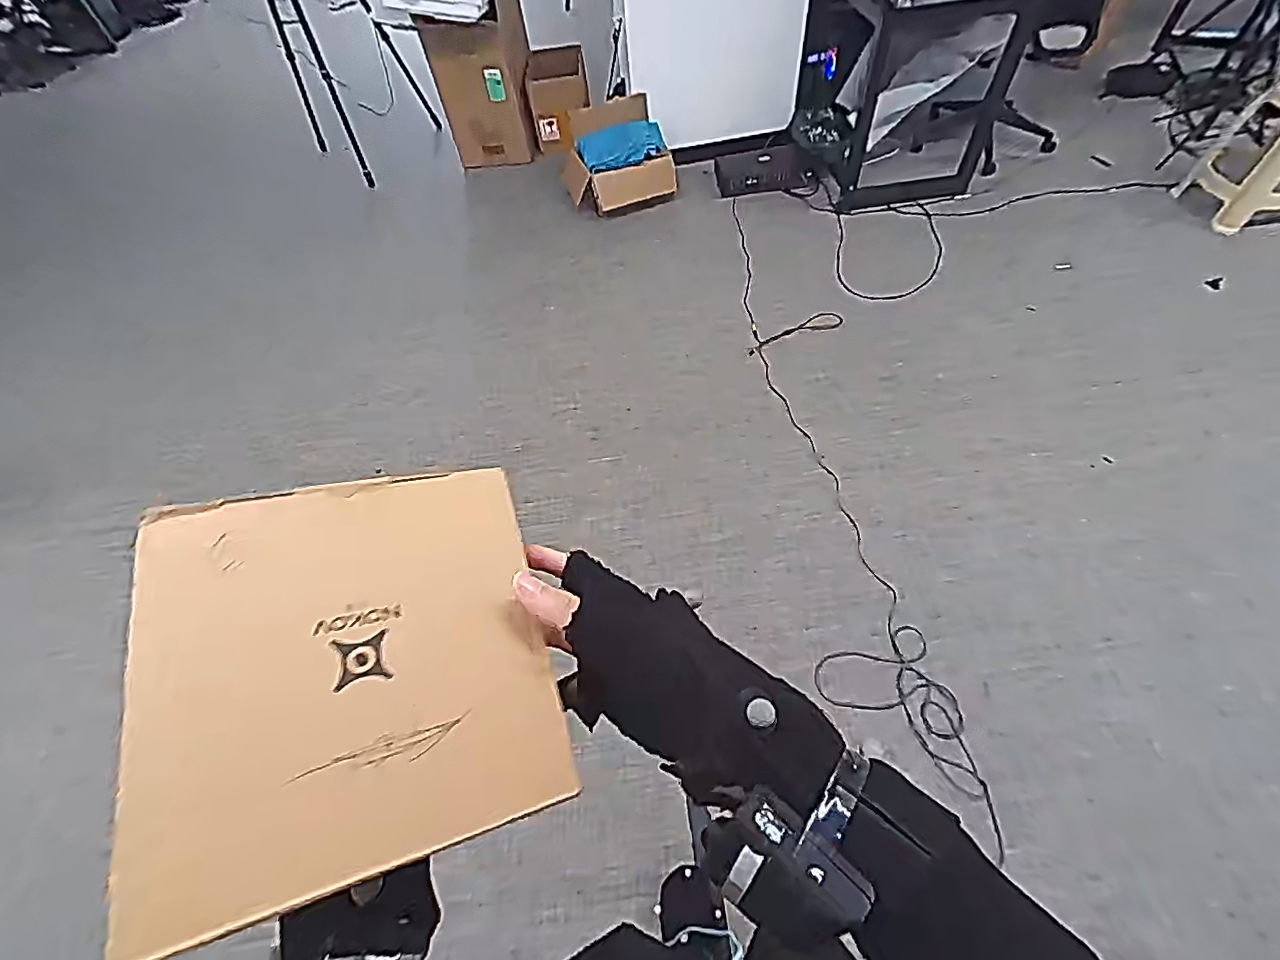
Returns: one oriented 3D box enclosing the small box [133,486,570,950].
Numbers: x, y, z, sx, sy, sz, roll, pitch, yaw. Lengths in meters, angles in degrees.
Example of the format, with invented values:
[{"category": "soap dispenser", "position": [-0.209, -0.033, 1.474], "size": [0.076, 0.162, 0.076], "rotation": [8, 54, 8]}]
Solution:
[{"category": "small box", "position": [-0.154, 0.127, 0.325], "size": [0.168, 0.176, 0.179], "rotation": [-8, 64, -22]}]
